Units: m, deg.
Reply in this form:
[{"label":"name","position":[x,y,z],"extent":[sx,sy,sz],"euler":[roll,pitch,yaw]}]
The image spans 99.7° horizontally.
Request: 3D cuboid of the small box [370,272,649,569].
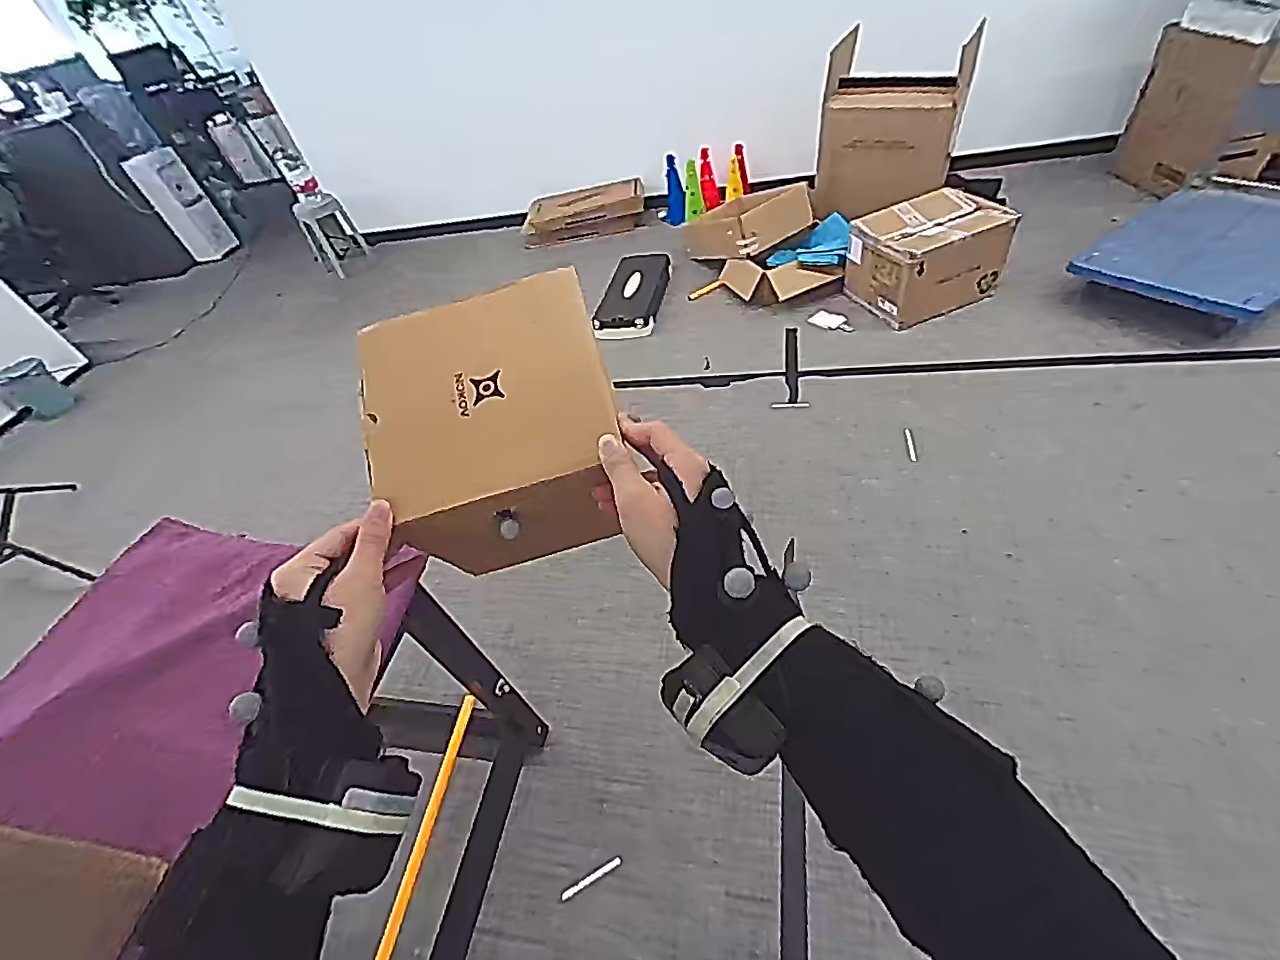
[{"label":"small box","position":[-0.095,-0.036,0.458],"extent":[0.179,0.176,0.168],"euler":[-16,69,2]}]
